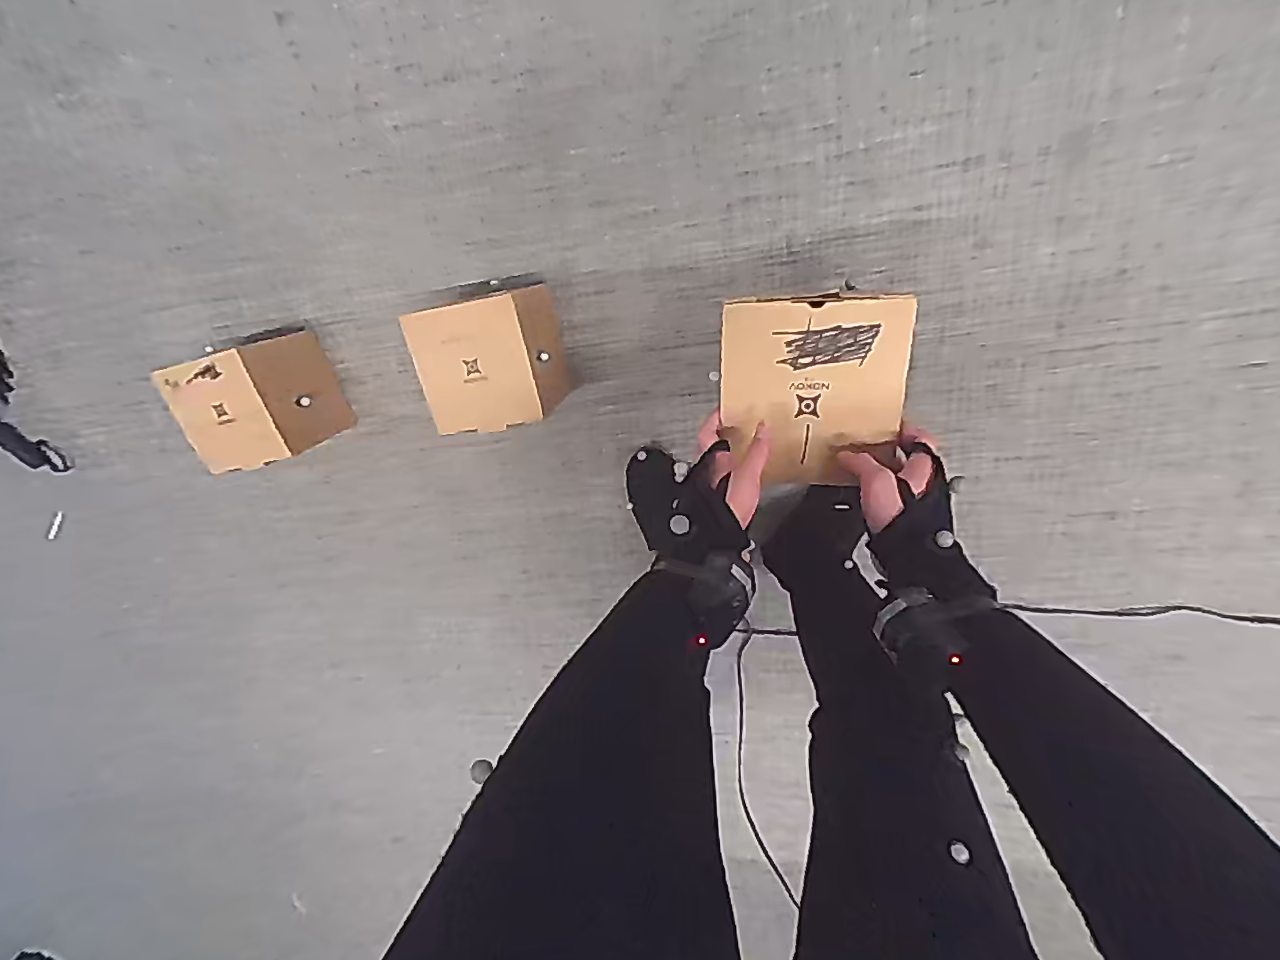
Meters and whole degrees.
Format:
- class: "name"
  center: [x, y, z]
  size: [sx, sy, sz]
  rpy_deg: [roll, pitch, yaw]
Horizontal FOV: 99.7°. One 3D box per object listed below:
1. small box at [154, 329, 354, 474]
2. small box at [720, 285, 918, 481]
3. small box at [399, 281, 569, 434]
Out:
- class: "small box"
  center: [-0.620, -0.133, 0.895]
  size: [0.168, 0.176, 0.179]
  rpy_deg: [-10, 114, 13]
- class: "small box"
  center: [0.172, -0.112, 0.572]
  size: [0.168, 0.176, 0.179]
  rpy_deg: [2, 113, 11]
- class: "small box"
  center: [-0.216, -0.187, 0.808]
  size: [0.168, 0.176, 0.179]
  rpy_deg: [-8, 113, 11]
